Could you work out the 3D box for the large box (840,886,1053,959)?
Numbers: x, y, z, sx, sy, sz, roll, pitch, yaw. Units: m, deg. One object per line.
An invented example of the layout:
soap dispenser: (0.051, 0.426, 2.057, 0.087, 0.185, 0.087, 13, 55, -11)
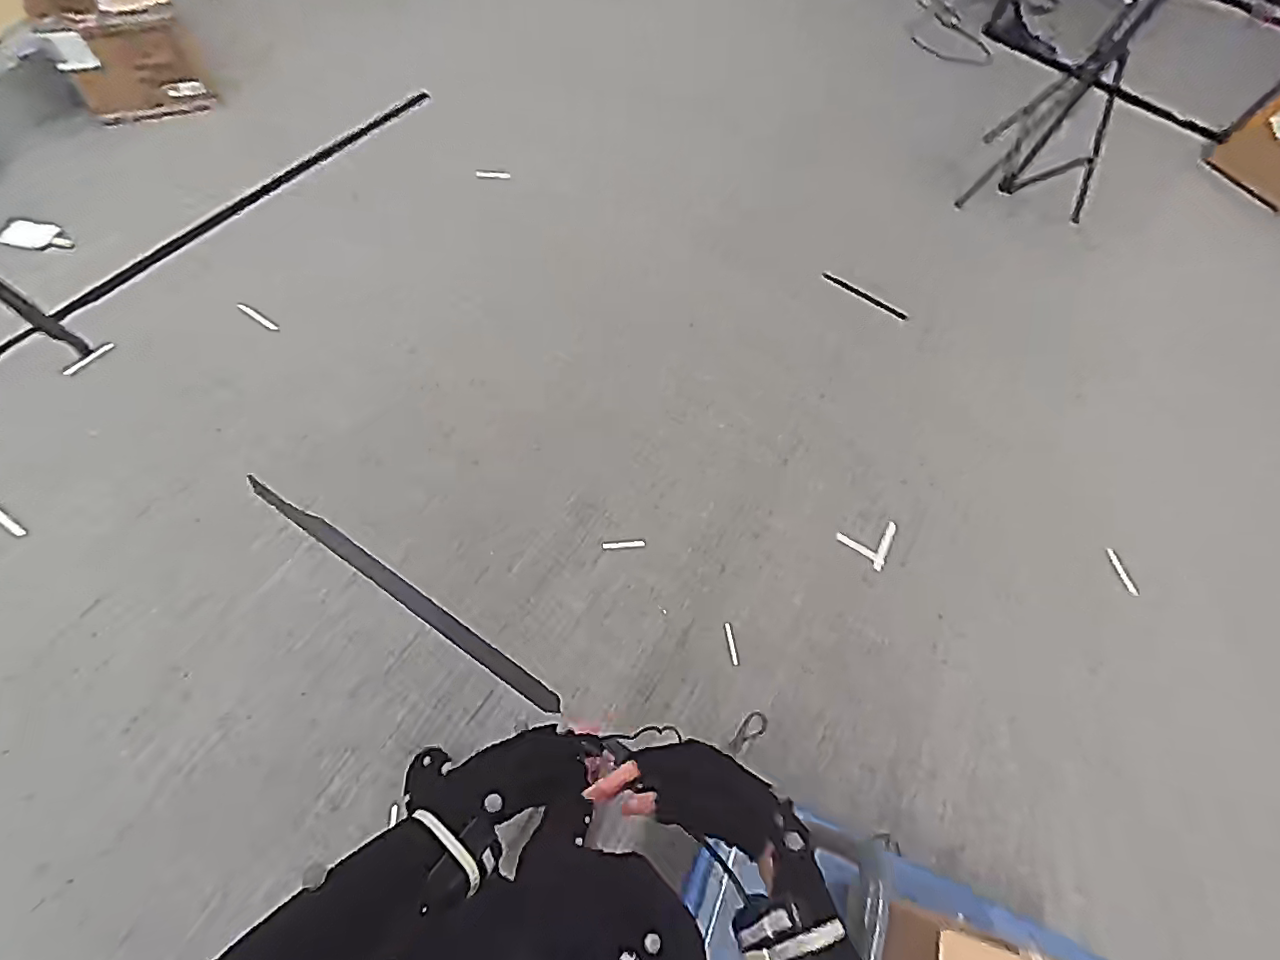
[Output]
large box: (0.525, 0.970, 0.874, 0.320, 0.320, 0.408, 19, 64, 3)
